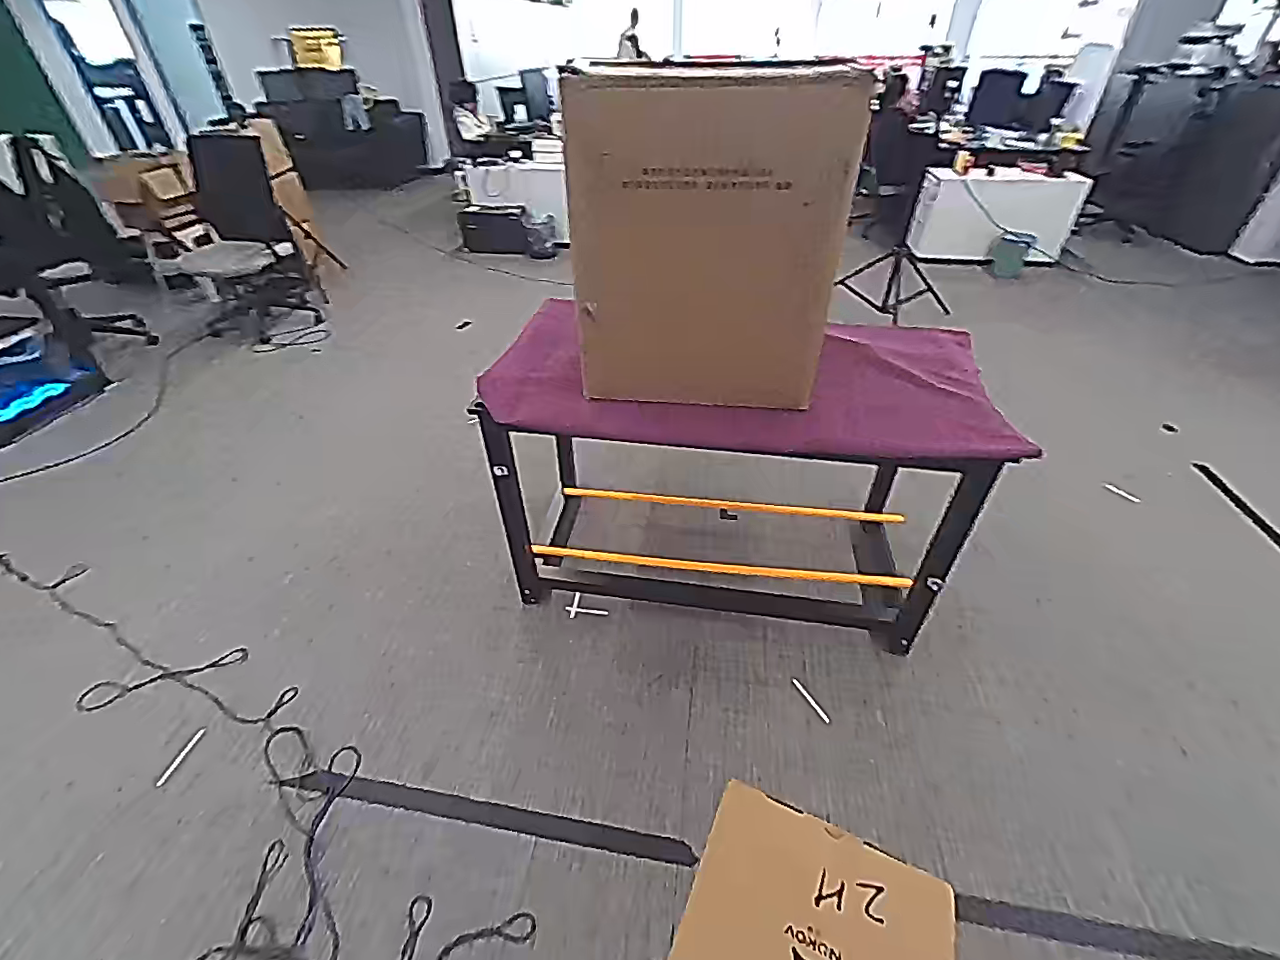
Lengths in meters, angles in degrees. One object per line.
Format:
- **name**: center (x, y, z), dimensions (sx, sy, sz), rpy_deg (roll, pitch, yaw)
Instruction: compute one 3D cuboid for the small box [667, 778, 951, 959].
- **small box**: center (0.106, 0.370, 0.392), dimensions (0.168, 0.176, 0.179), rpy_deg (18, 38, 18)
